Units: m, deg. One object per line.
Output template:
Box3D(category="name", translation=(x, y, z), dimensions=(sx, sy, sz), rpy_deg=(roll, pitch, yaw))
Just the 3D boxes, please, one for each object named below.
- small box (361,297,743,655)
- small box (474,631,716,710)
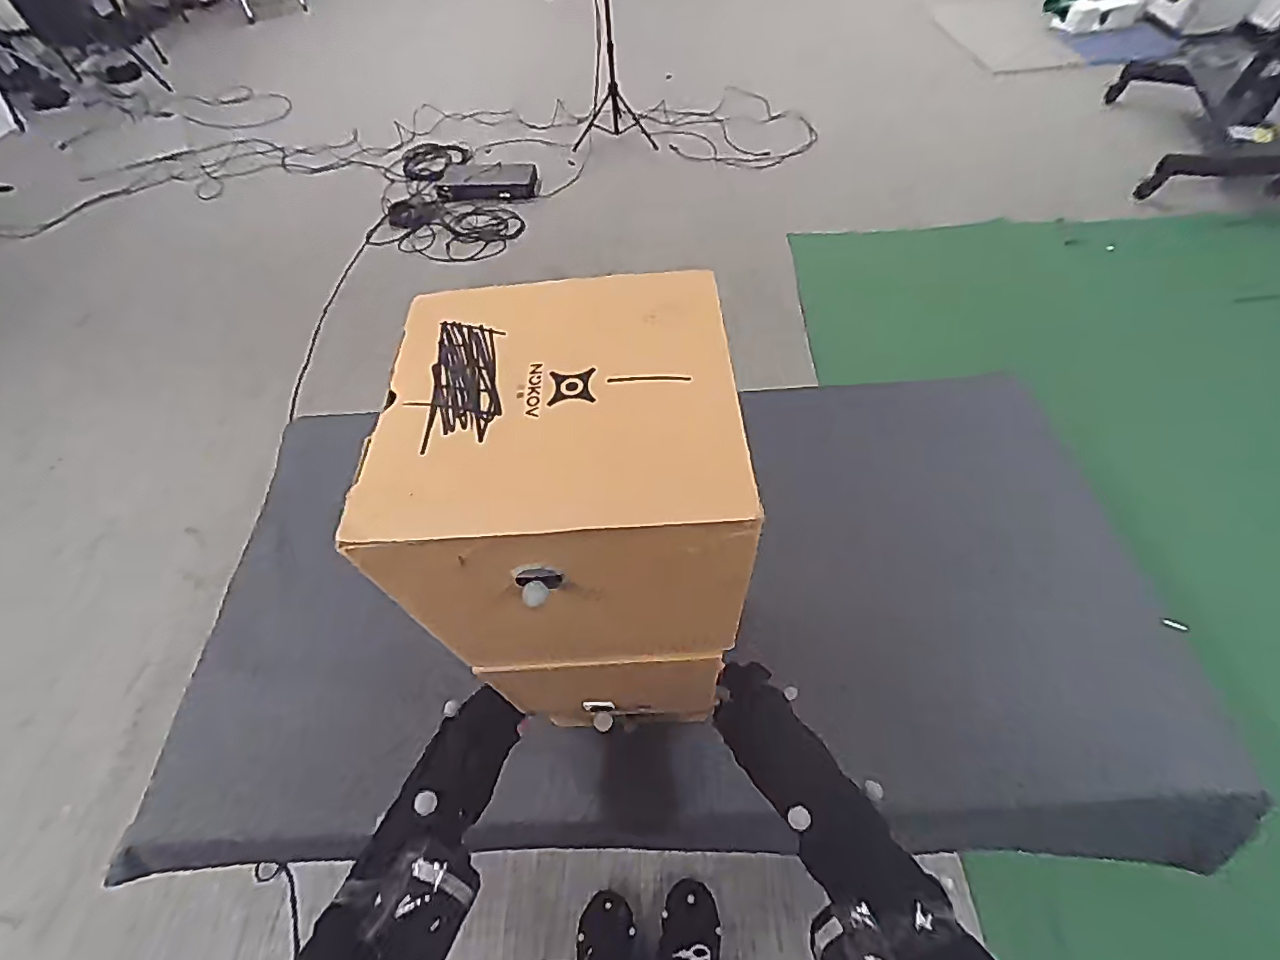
Box3D(category="small box", translation=(-0.037, 0.008, 0.348), dimensions=(0.179, 0.176, 0.168), rpy_deg=(-4, 56, 2))
Box3D(category="small box", translation=(-0.029, 0.089, 0.471), dimensions=(0.168, 0.176, 0.179), rpy_deg=(-3, 57, 2))
